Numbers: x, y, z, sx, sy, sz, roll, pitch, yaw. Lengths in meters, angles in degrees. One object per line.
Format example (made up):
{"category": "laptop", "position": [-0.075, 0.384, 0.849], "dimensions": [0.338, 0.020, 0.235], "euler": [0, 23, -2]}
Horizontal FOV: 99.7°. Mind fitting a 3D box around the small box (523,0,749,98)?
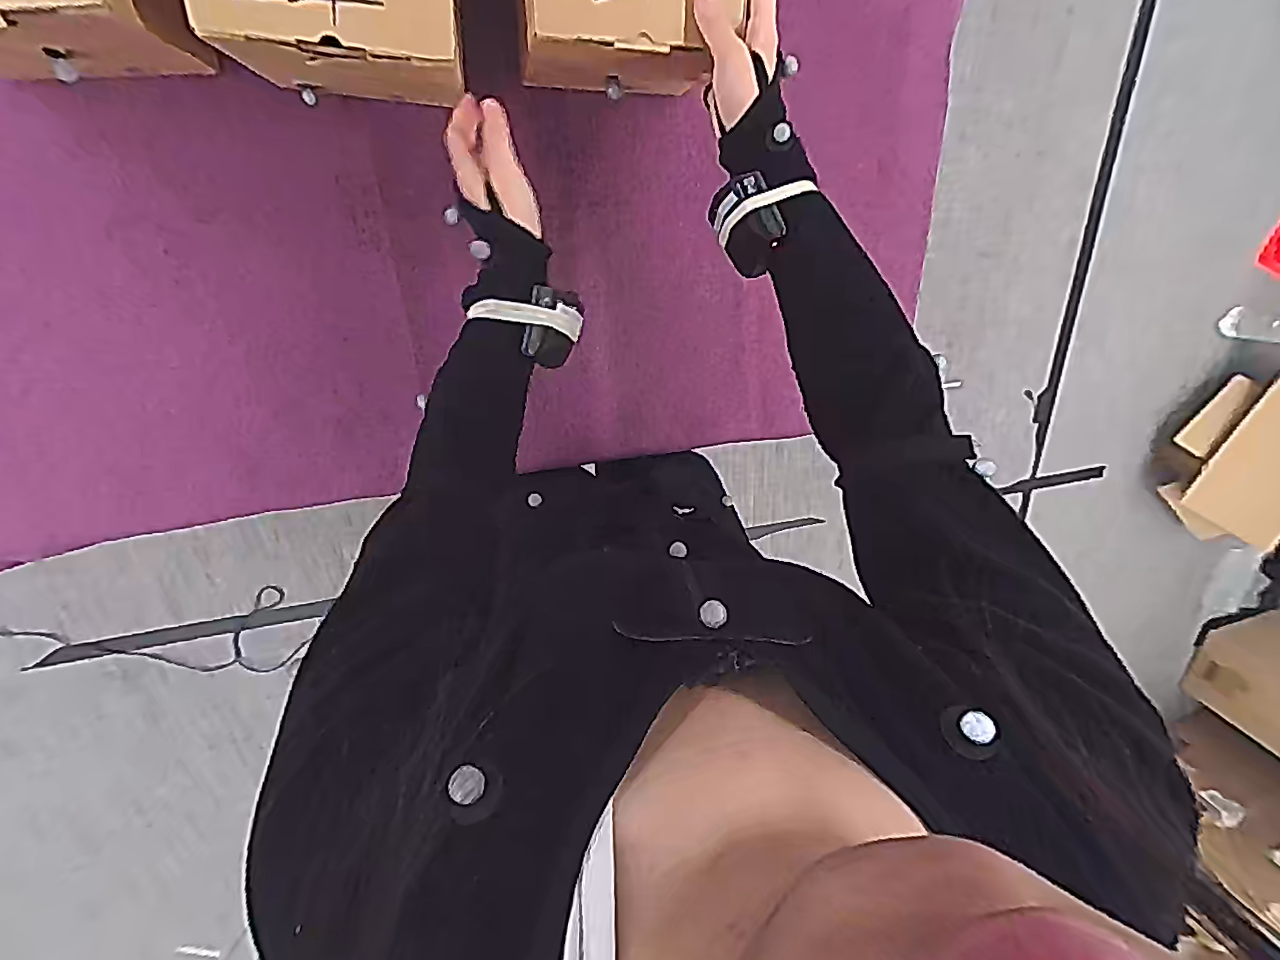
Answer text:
{"category": "small box", "position": [-0.012, -0.441, 0.446], "dimensions": [0.168, 0.176, 0.179], "euler": [-5, 117, -12]}
